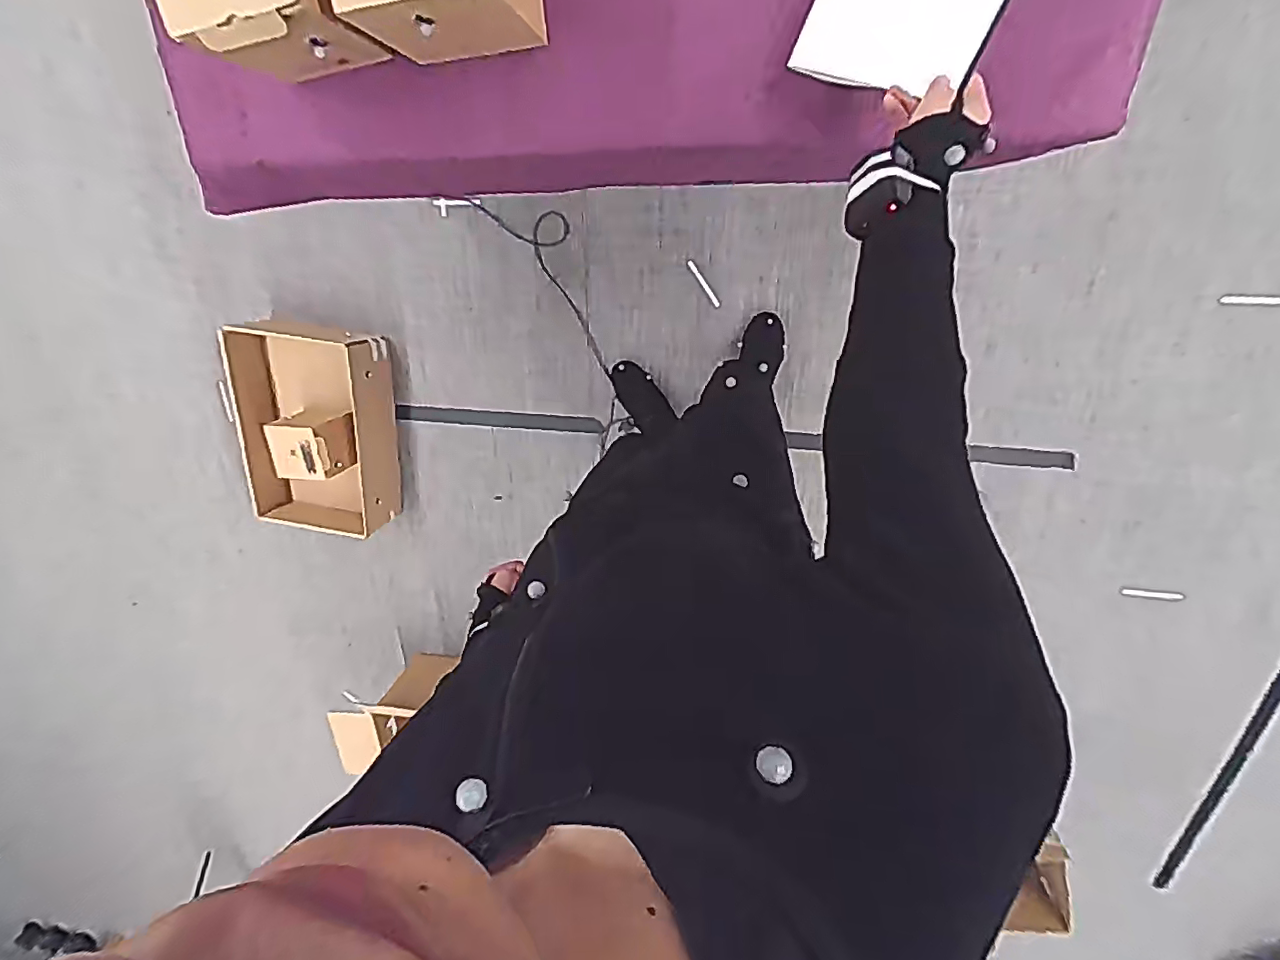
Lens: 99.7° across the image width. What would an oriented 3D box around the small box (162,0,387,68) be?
[{"bbox_3d":[-0.418,-0.595,0.607,0.168,0.176,0.179,-4,112,11],"label":"small box"}]
